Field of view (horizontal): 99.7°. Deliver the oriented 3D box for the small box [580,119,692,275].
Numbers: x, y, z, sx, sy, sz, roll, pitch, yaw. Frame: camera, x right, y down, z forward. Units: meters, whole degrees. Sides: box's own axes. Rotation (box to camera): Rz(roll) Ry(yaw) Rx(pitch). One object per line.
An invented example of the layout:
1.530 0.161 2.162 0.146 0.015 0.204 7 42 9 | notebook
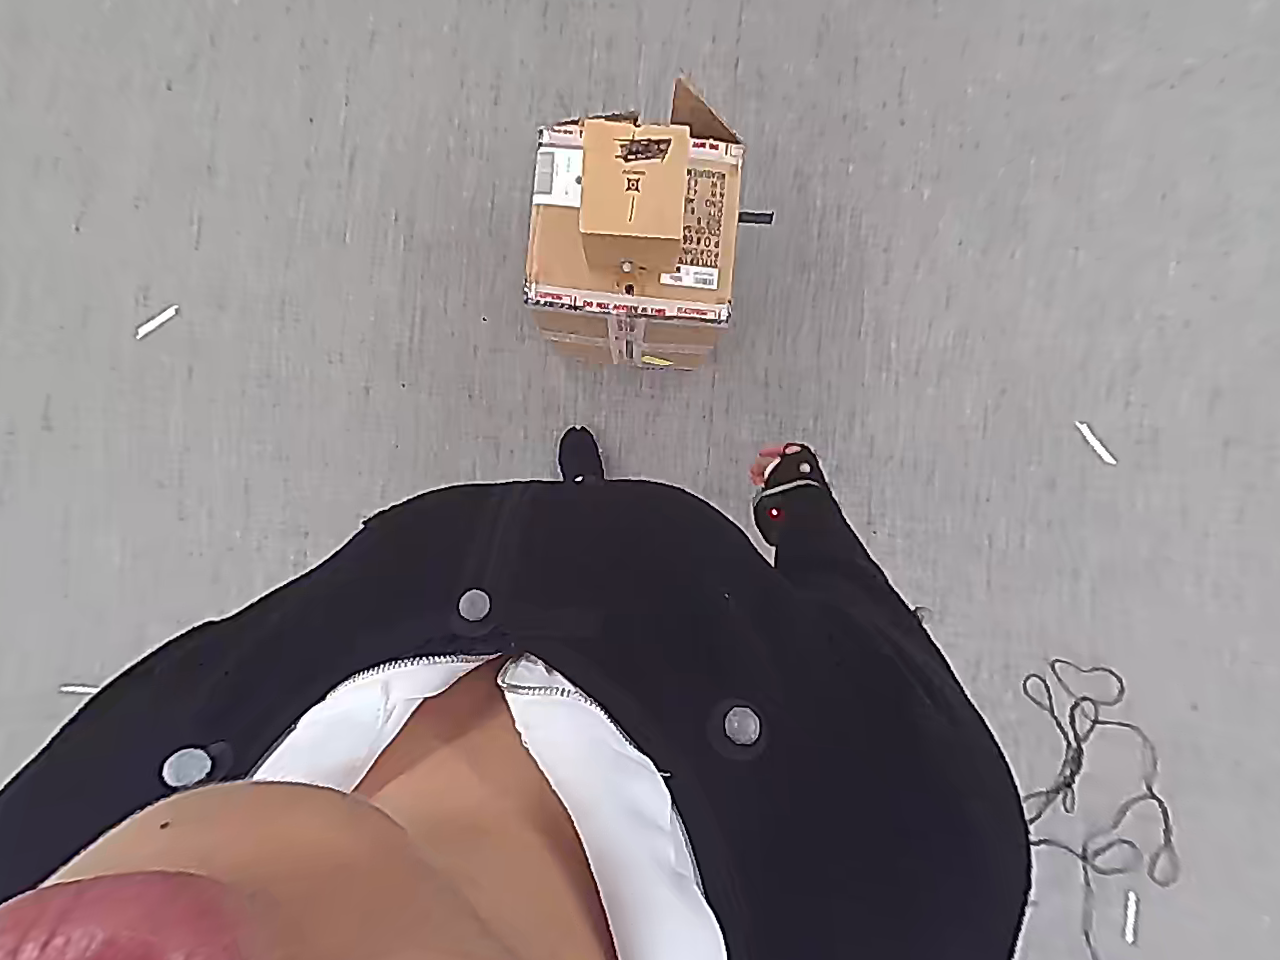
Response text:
-0.008 -0.471 0.922 0.168 0.176 0.179 4 93 -1 | small box
